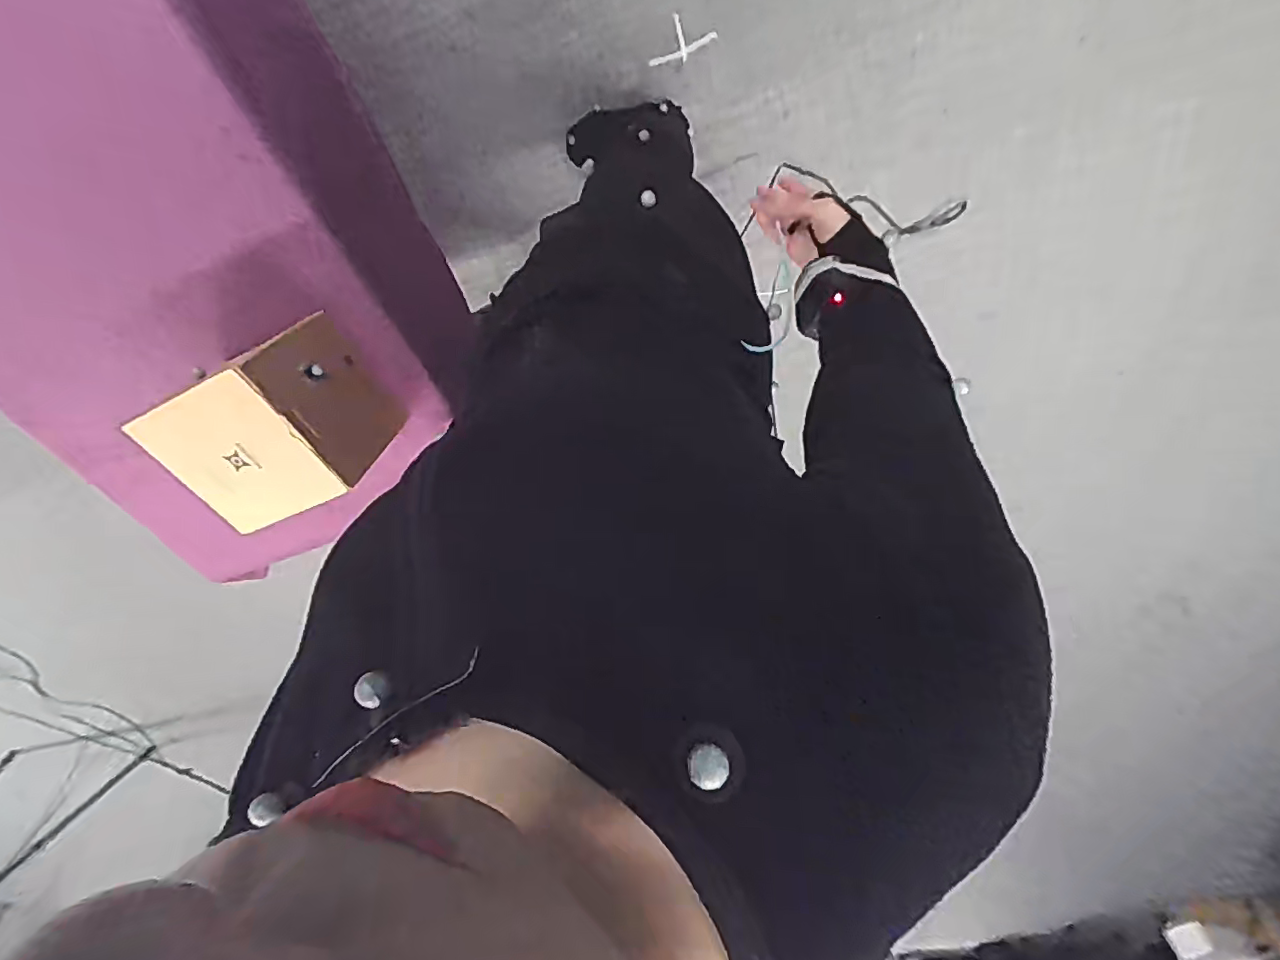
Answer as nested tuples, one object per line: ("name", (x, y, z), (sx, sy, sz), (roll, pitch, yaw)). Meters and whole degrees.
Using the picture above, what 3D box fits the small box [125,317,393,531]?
("small box", (-0.431, -0.072, 0.653), (0.179, 0.176, 0.168), (-19, 122, 16))
